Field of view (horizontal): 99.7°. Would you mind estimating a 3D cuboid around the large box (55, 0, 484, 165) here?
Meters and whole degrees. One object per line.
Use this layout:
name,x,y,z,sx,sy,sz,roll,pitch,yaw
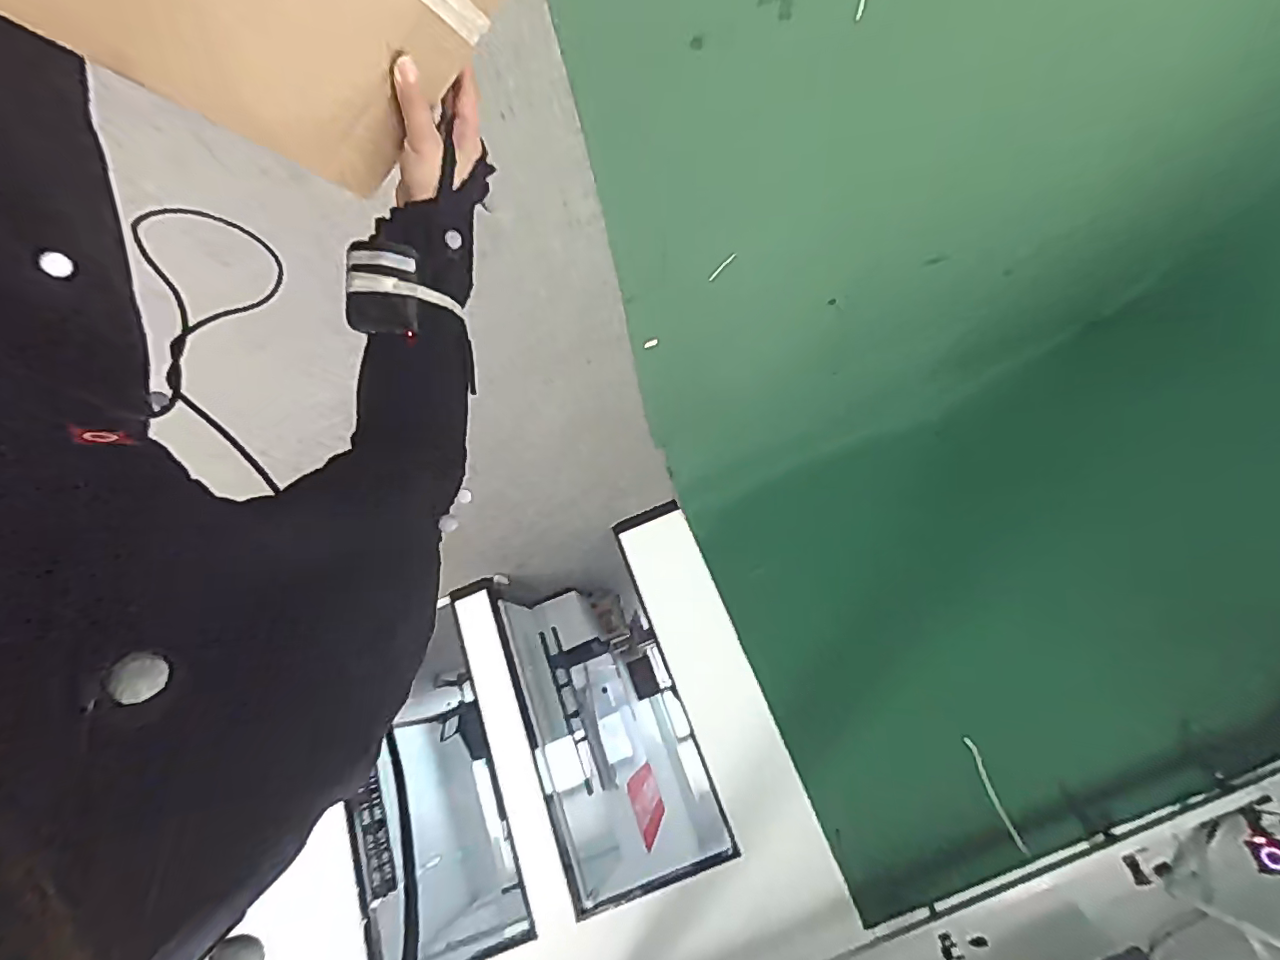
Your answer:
large box,-0.280,-0.461,0.250,0.320,0.320,0.408,-37,161,26
